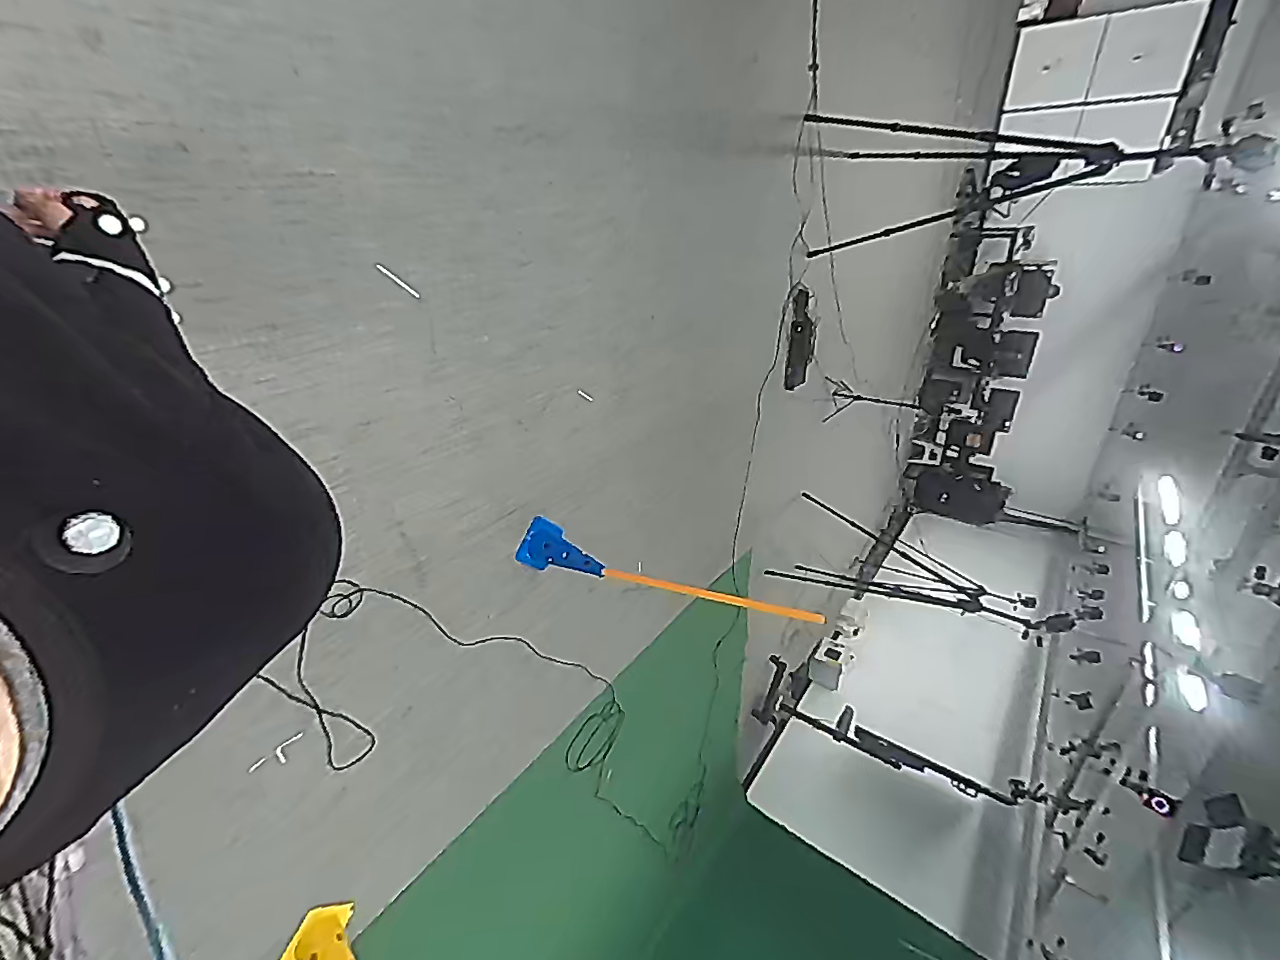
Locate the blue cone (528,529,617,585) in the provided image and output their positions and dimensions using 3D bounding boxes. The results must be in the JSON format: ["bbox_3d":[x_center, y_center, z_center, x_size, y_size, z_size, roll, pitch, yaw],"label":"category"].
[{"bbox_3d":[-0.250,0.341,2.152,0.192,0.380,0.193,37,72,-53],"label":"blue cone"}]
